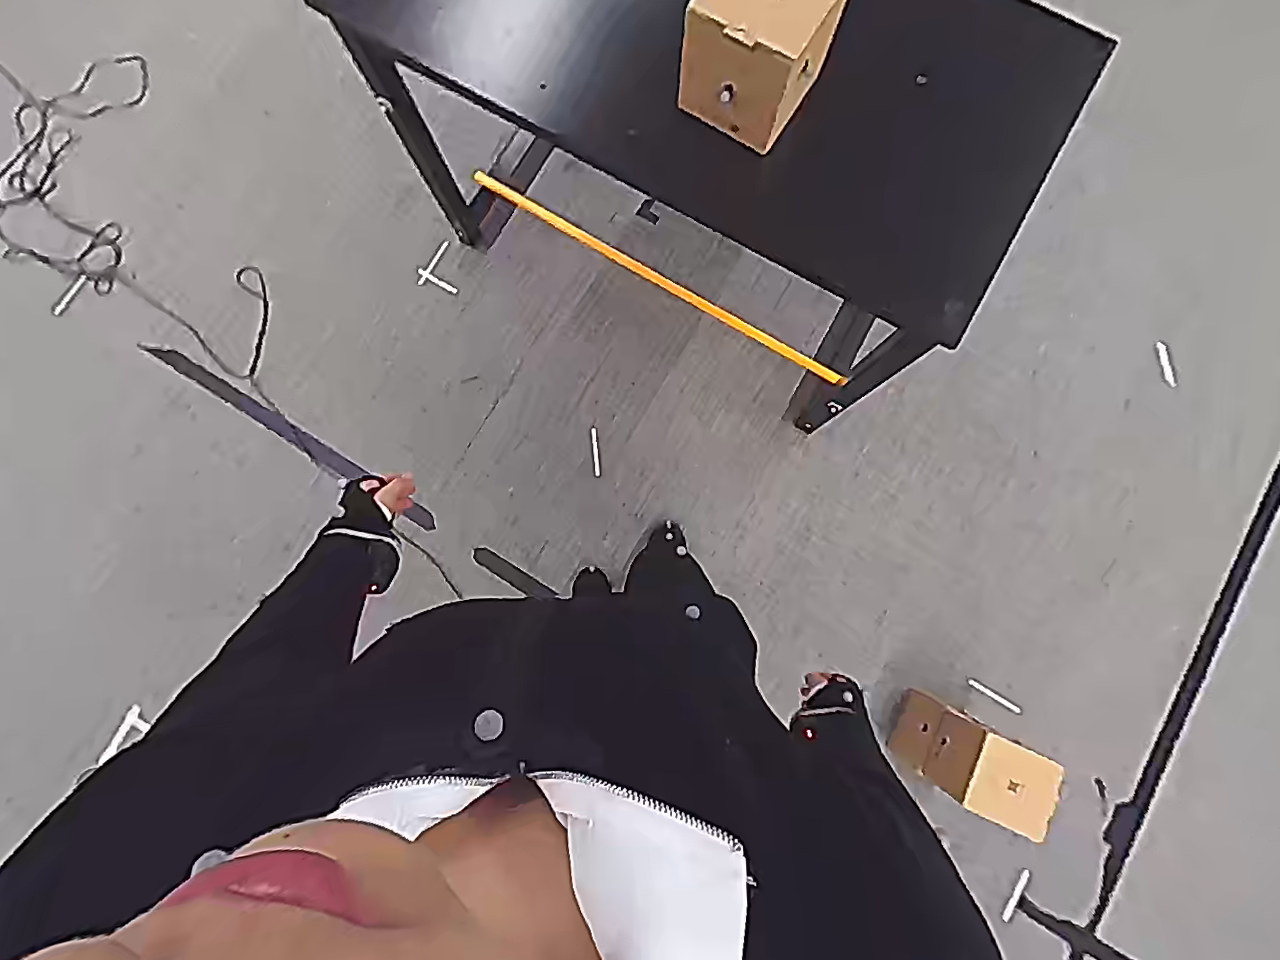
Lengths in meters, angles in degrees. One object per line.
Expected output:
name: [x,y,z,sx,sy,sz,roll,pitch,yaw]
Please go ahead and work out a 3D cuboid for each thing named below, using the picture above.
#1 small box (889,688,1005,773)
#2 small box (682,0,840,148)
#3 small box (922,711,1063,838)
small box: [0.764,0.655,1.364,0.168,0.176,0.179,27,84,4]
small box: [0.173,-0.642,0.795,0.168,0.176,0.179,32,84,4]
small box: [0.773,0.641,1.202,0.179,0.176,0.168,24,82,4]
